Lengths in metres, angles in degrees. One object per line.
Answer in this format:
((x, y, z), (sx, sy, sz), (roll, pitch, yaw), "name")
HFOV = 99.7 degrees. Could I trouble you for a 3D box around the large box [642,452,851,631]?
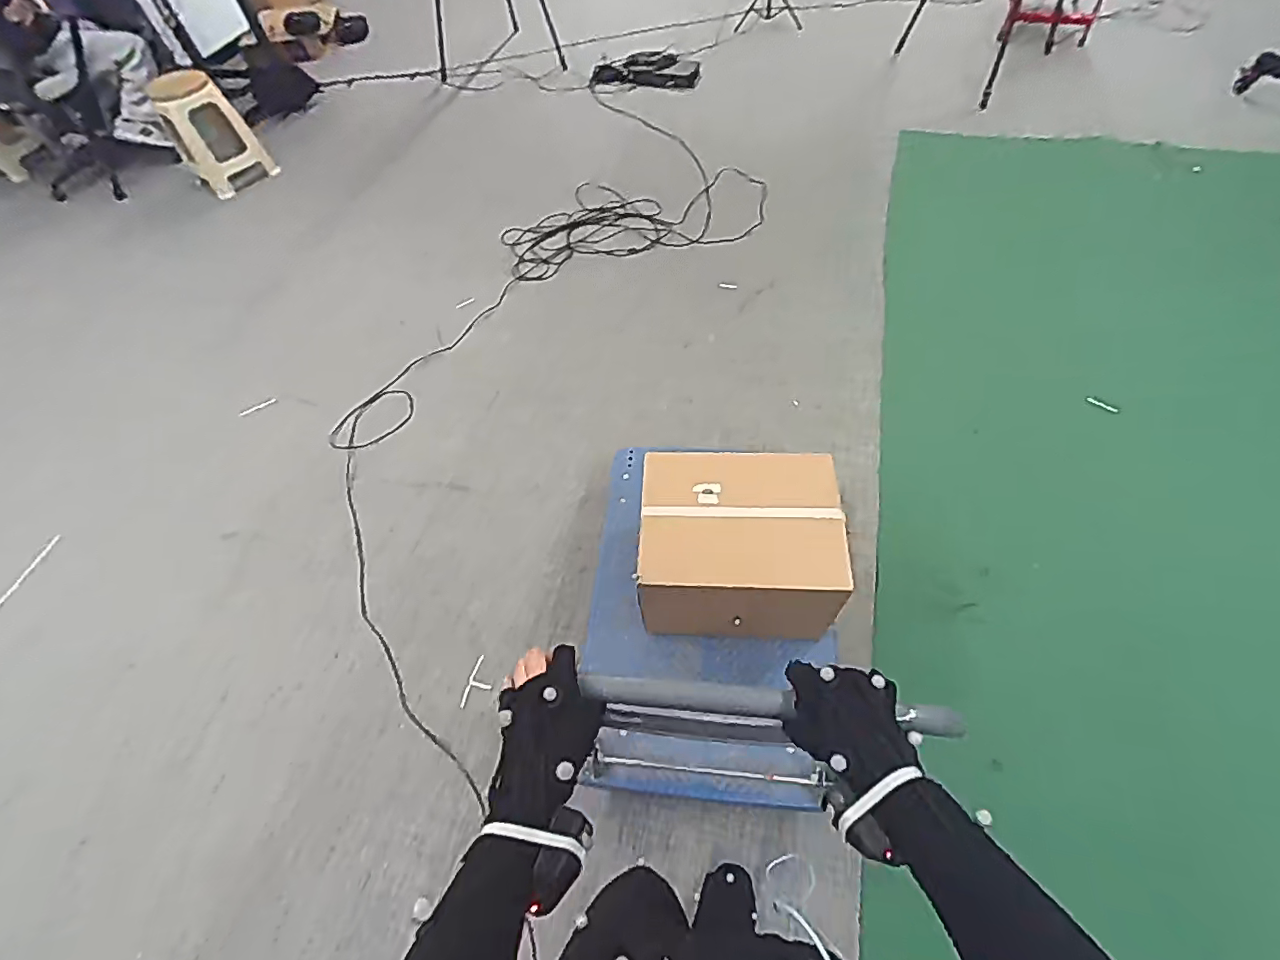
((0.222, 0.152, 1.236), (0.408, 0.320, 0.320), (-1, 57, 6), "large box")
